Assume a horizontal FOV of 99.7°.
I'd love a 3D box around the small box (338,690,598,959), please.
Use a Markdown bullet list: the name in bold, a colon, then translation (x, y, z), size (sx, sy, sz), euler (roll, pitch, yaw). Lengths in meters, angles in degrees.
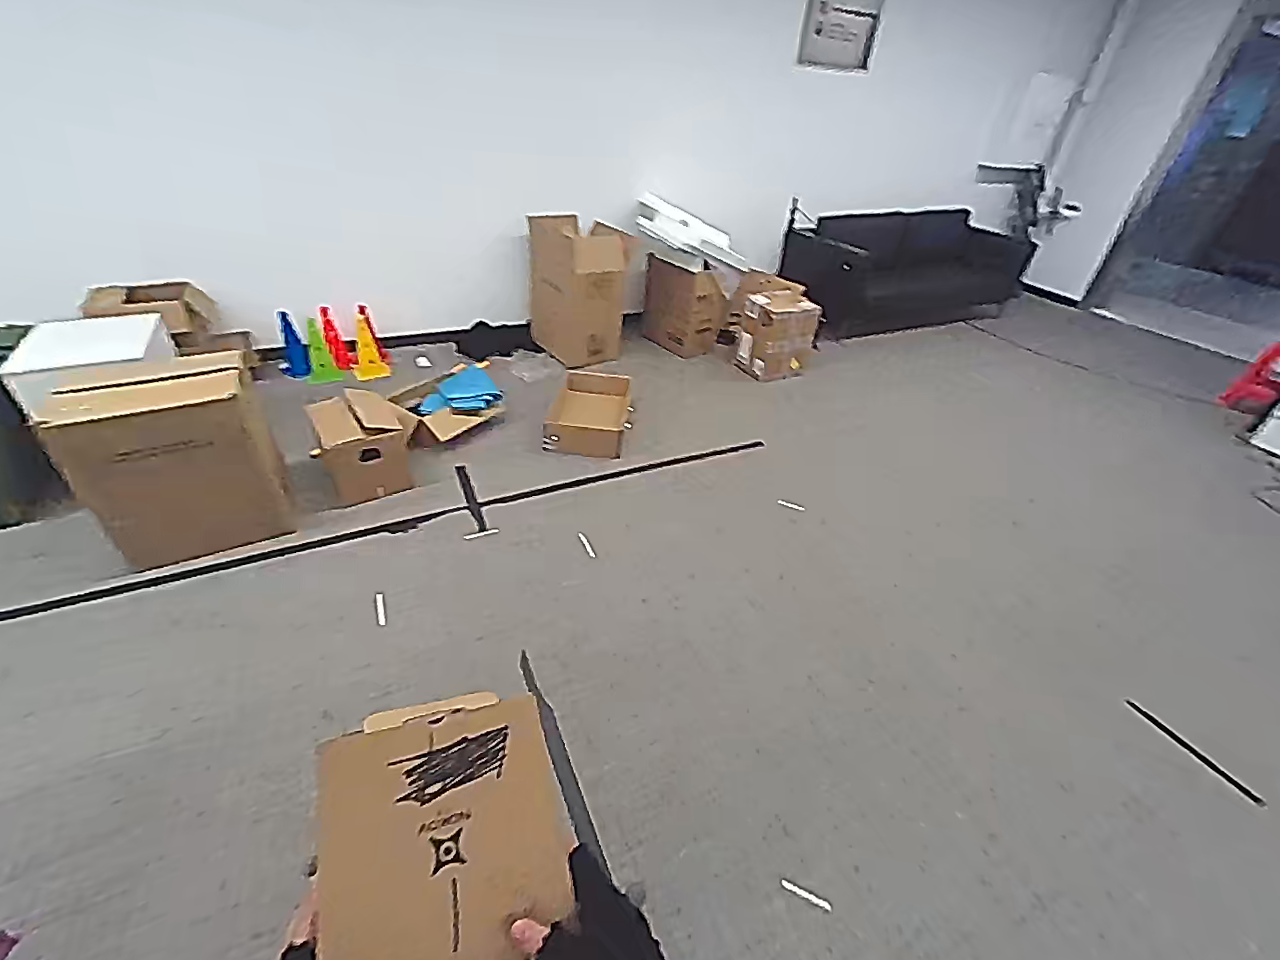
- **small box**: translation (-0.154, 0.302, 0.450), size (0.168, 0.176, 0.179), euler (-3, 54, -26)
